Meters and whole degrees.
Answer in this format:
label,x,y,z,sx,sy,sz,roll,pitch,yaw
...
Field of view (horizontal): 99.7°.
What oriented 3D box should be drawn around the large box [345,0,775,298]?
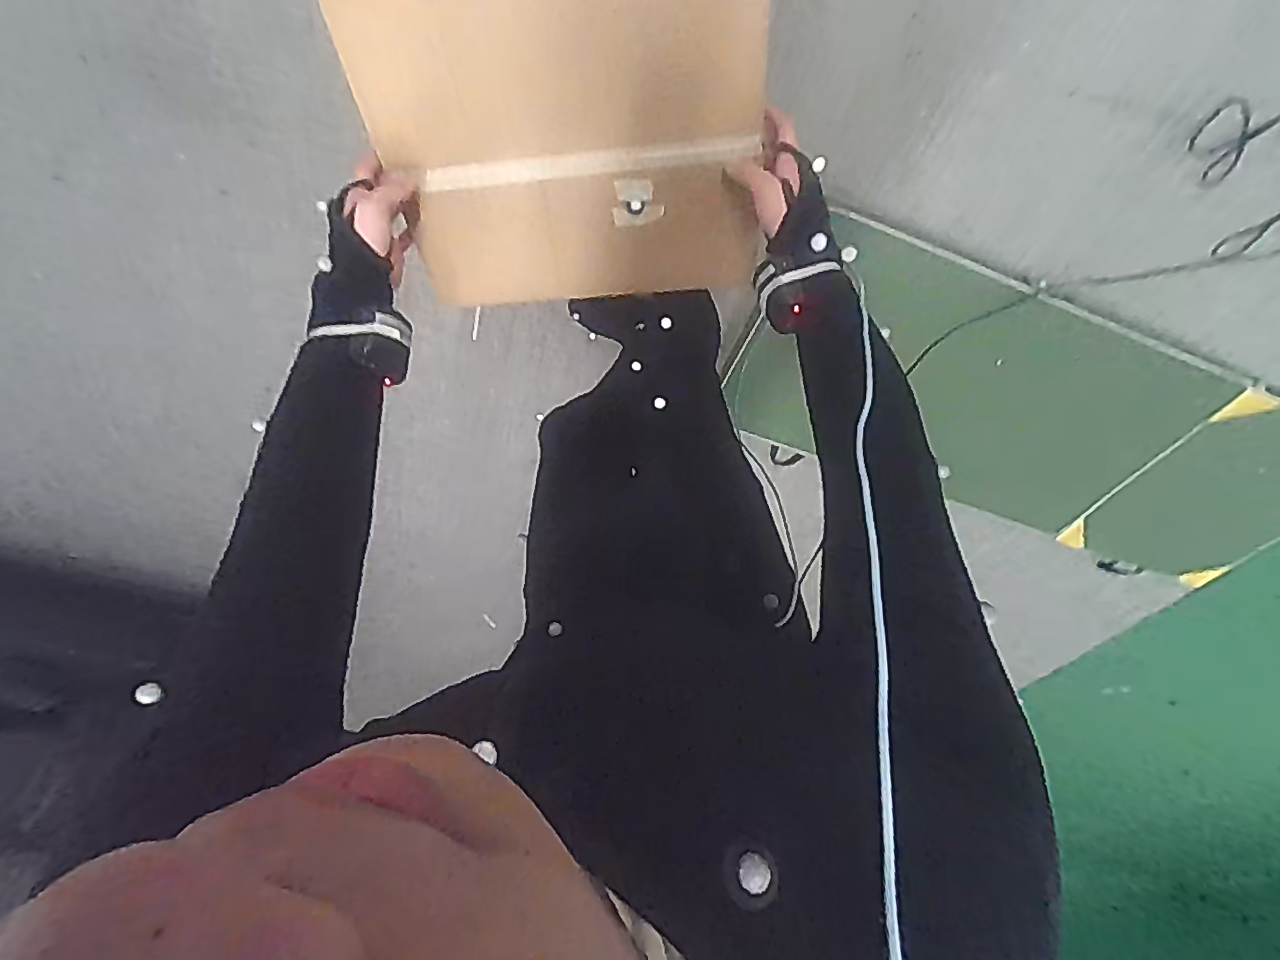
label,x,y,z,sx,sy,sz,roll,pitch,yaw
large box,-0.061,-0.461,0.688,0.408,0.320,0.320,-3,137,5
